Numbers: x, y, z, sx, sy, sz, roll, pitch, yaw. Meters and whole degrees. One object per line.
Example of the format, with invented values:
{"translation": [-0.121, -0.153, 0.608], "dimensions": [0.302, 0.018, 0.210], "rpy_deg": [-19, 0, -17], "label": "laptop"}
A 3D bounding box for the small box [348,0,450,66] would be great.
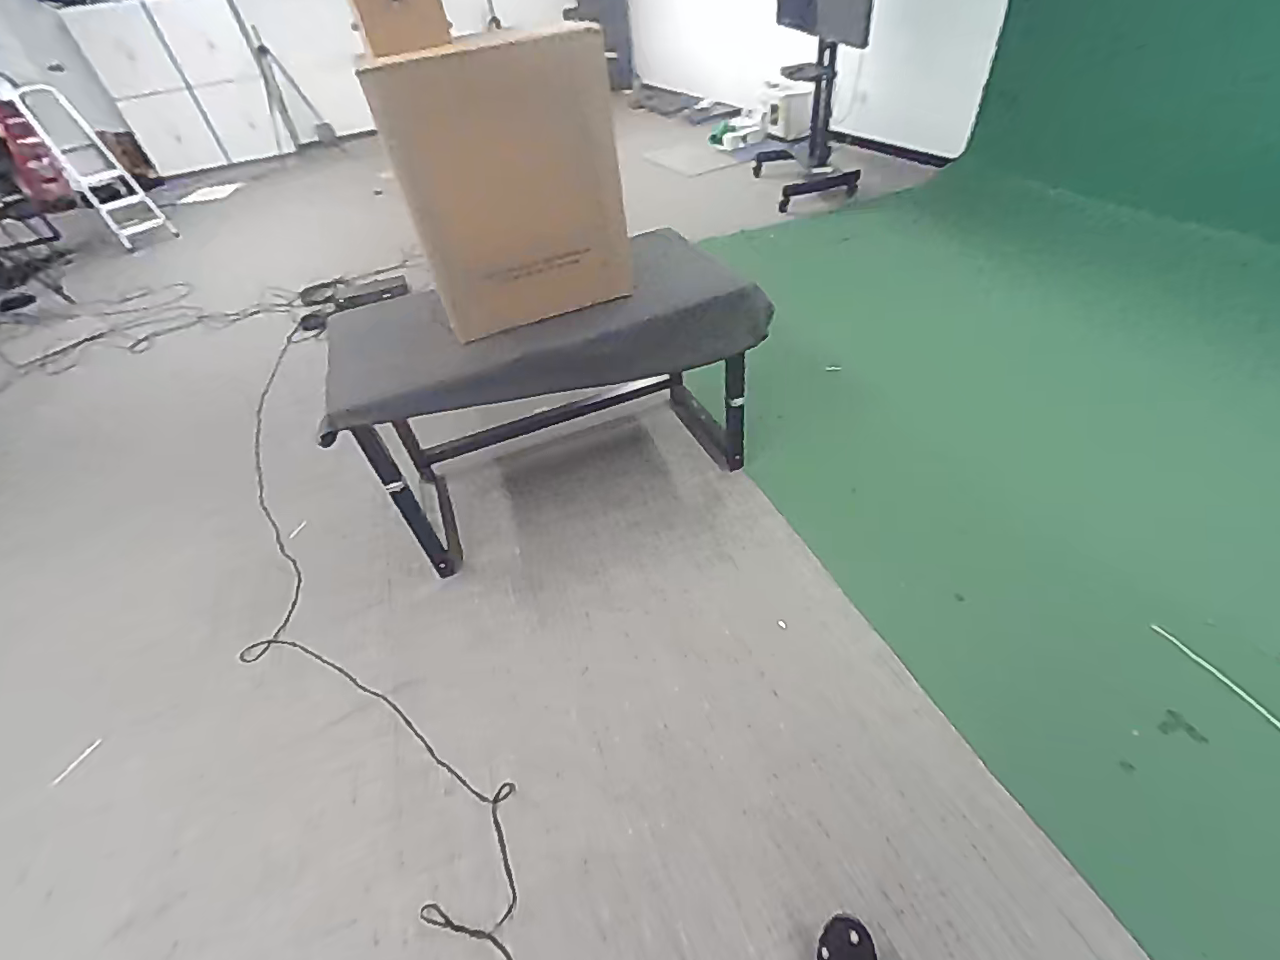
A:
{"translation": [-0.523, -1.015, 1.156], "dimensions": [0.179, 0.176, 0.168], "rpy_deg": [-24, 47, -12], "label": "small box"}
